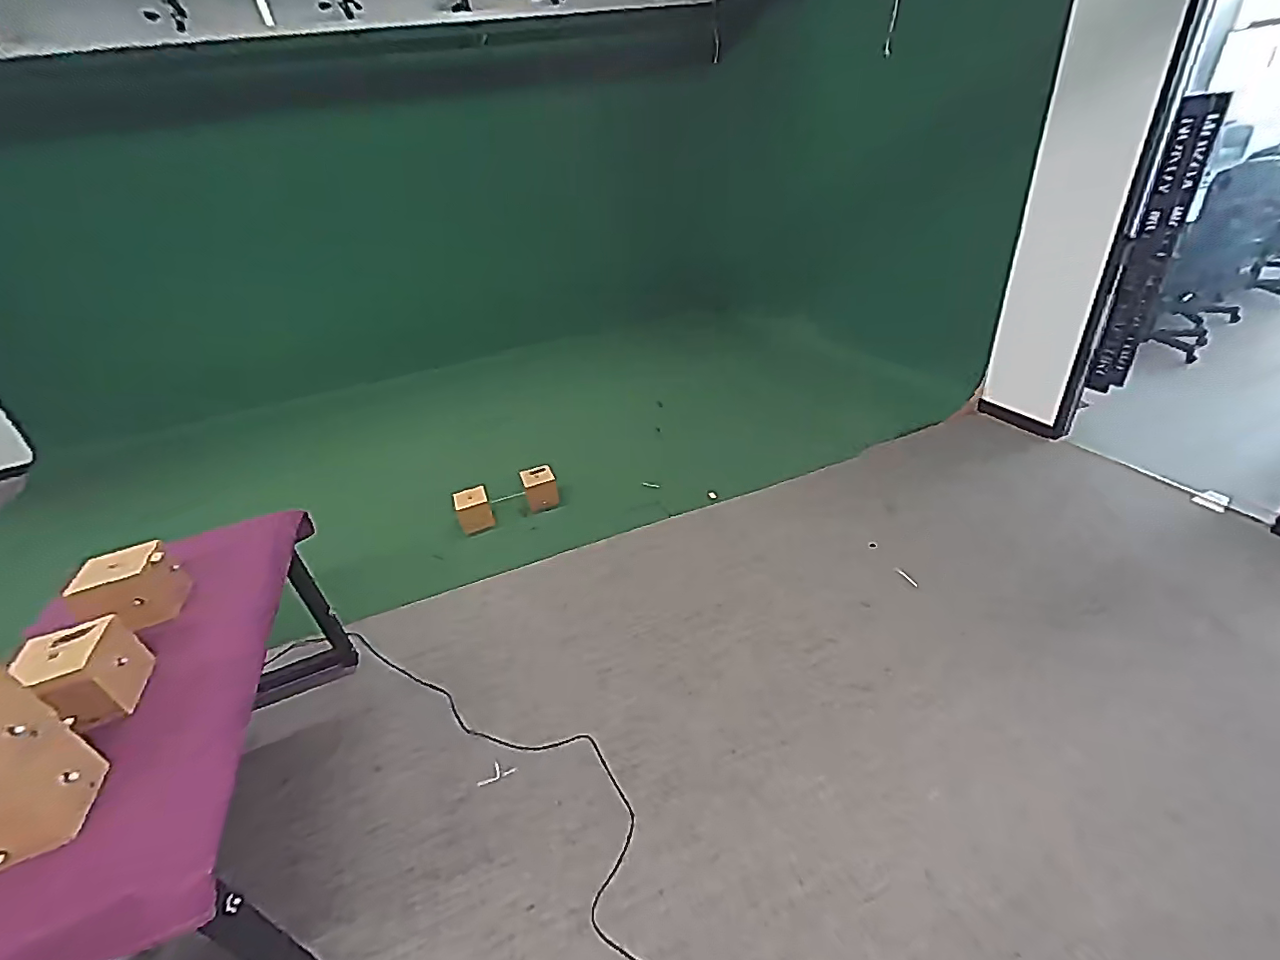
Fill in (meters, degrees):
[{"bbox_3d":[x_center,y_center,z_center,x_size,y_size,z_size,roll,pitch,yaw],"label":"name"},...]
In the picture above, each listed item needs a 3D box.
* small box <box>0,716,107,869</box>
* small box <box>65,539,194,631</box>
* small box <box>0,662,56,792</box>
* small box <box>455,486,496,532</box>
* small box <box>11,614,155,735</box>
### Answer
[{"bbox_3d":[-1.142,0.576,0.982,0.179,0.176,0.168,-18,33,-16],"label":"small box"},{"bbox_3d":[-1.373,0.296,1.474,0.179,0.176,0.168,-18,33,-15],"label":"small box"},{"bbox_3d":[-1.160,0.436,0.896,0.179,0.176,0.168,-18,34,-16],"label":"small box"},{"bbox_3d":[-0.891,0.161,2.928,0.168,0.176,0.179,-18,33,-15],"label":"small box"},{"bbox_3d":[-1.250,0.442,1.217,0.168,0.176,0.179,-19,35,-16],"label":"small box"}]
